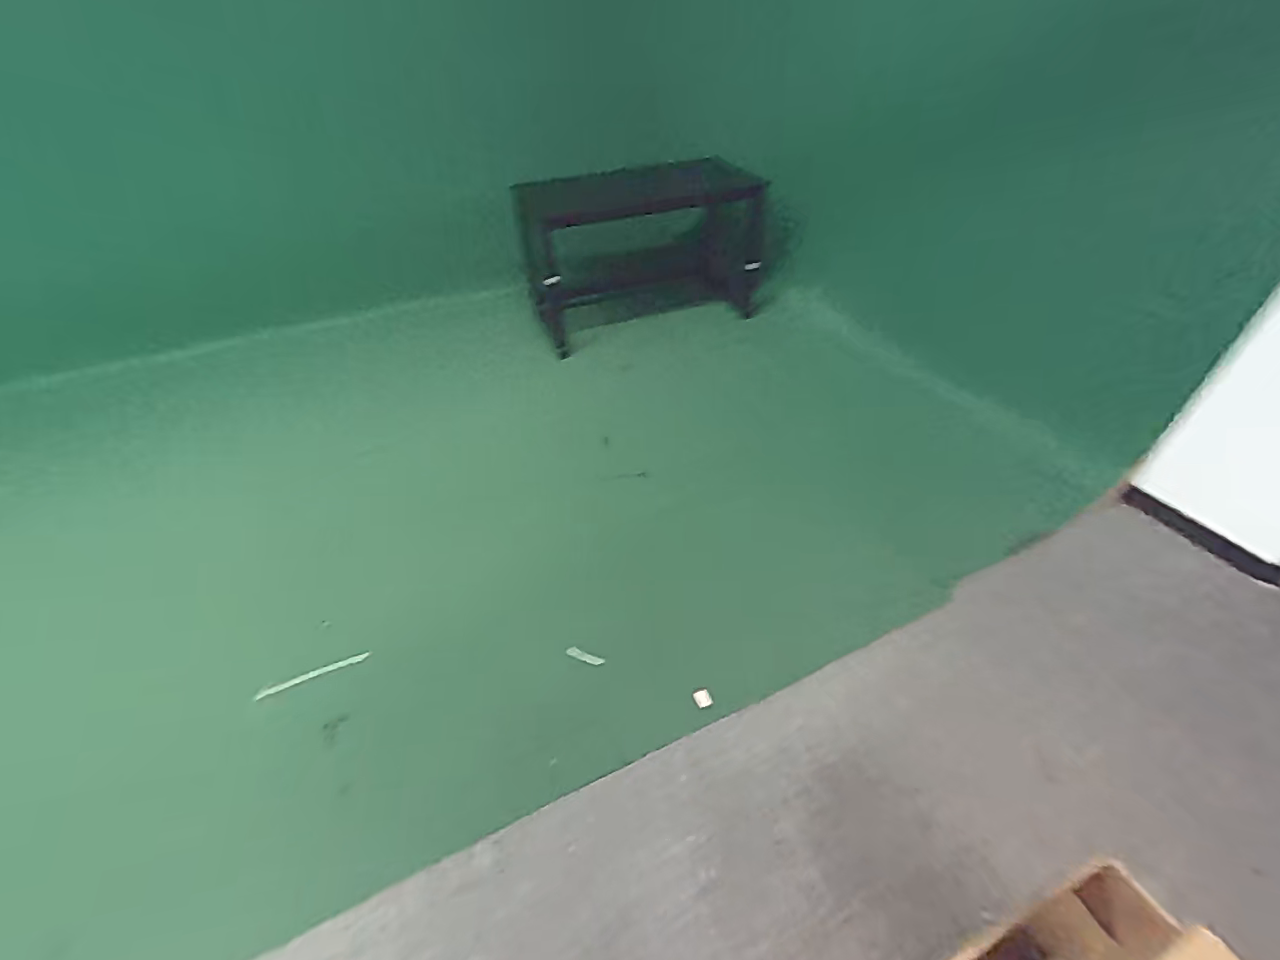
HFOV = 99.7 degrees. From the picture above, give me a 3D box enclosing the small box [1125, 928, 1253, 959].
[{"bbox_3d":[0.577,0.610,0.552,0.179,0.176,0.168,-18,45,-15],"label":"small box"}]
